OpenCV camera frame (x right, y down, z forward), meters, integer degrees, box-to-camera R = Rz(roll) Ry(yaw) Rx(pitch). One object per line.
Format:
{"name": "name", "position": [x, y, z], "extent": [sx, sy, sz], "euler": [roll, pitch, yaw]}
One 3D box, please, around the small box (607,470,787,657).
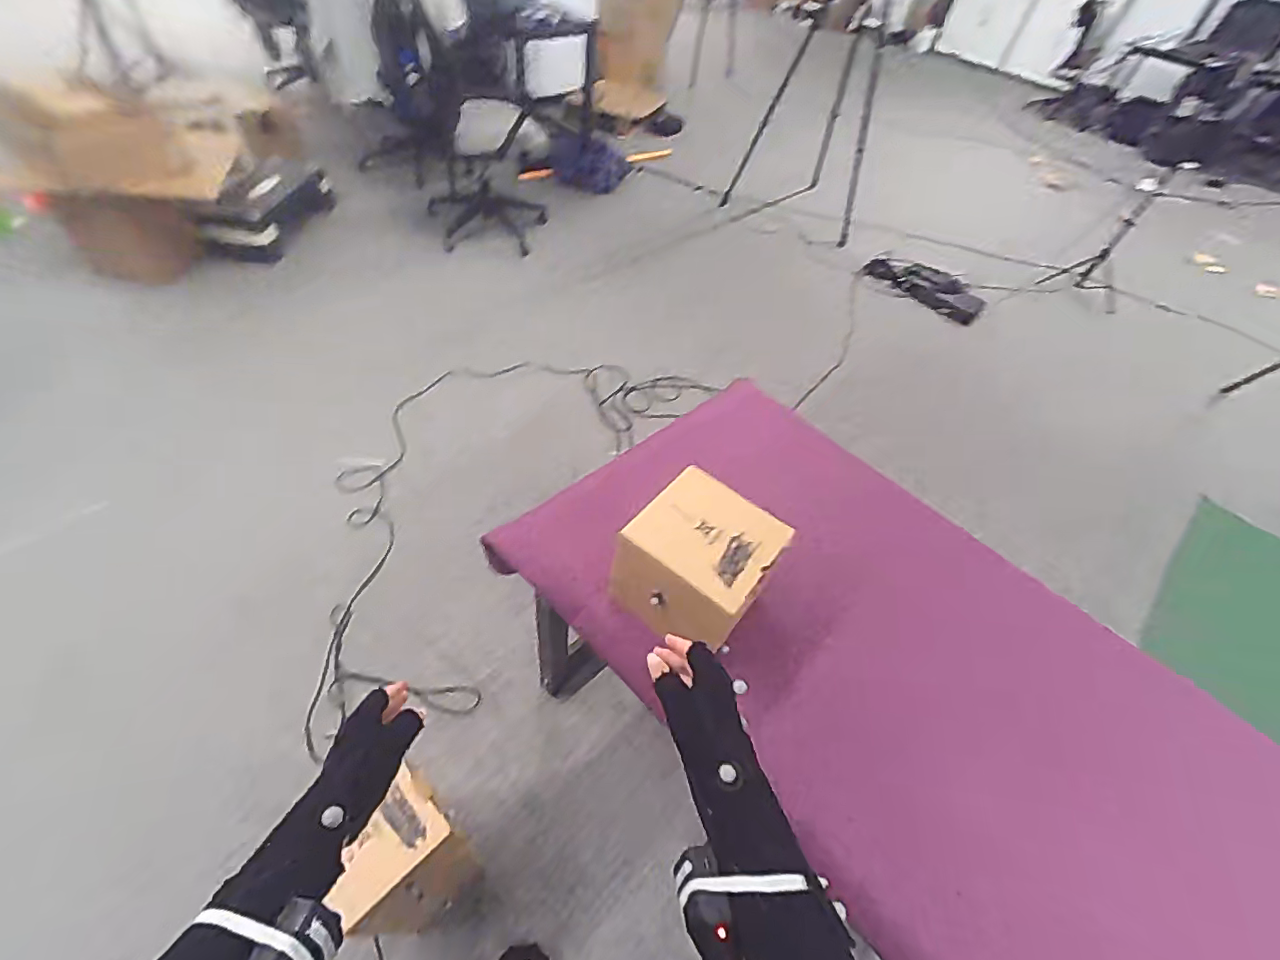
{"name": "small box", "position": [0.073, 0.126, 0.771], "extent": [0.179, 0.176, 0.168], "euler": [35, 52, 19]}
